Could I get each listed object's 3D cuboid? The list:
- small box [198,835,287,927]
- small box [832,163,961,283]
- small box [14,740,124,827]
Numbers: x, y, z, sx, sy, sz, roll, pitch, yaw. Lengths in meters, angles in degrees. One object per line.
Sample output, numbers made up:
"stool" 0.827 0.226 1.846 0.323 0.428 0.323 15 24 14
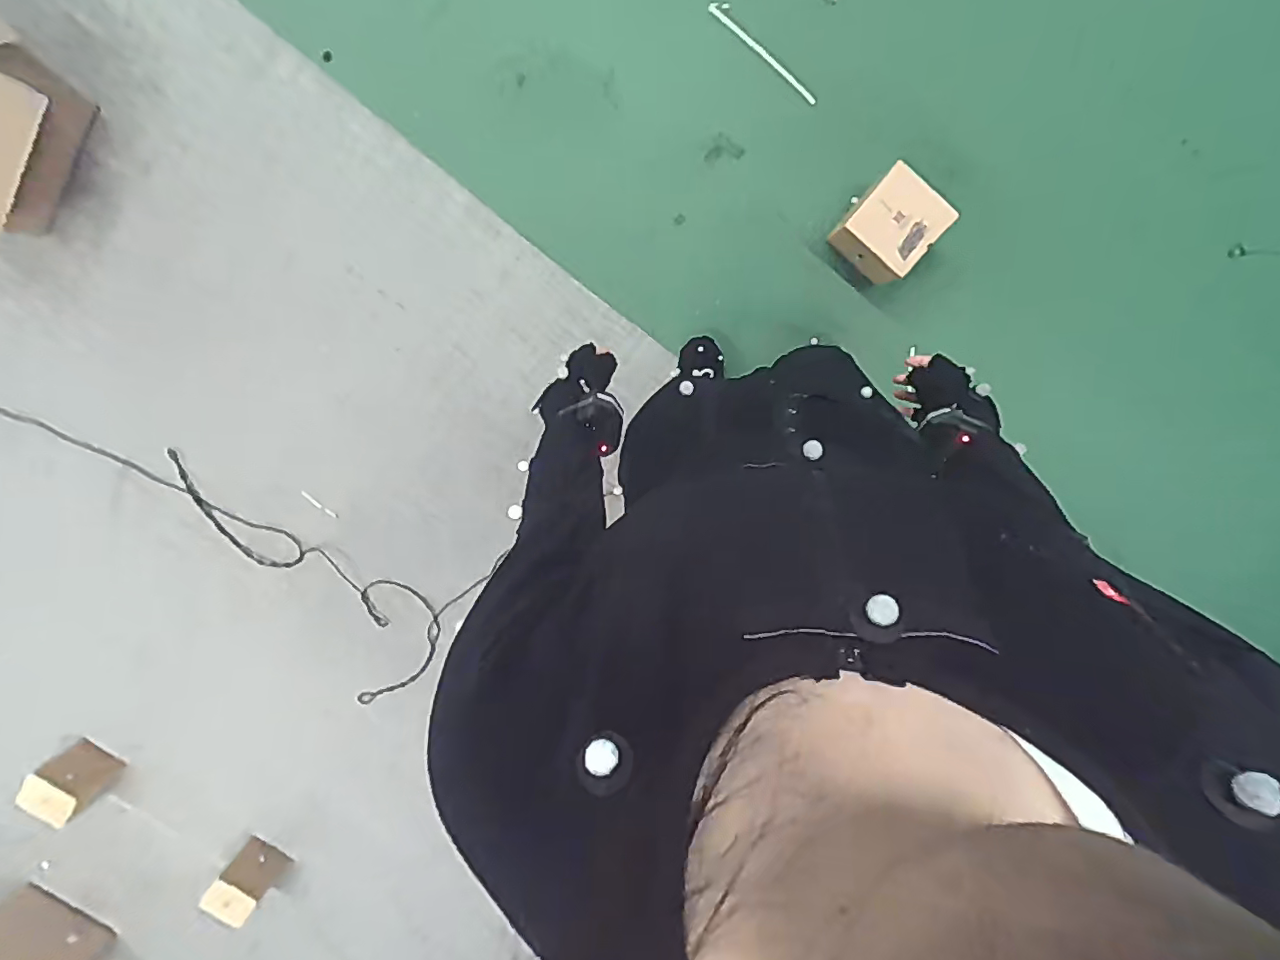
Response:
"small box" -1.418 1.434 1.940 0.168 0.176 0.179 36 105 -6
"small box" 0.568 -0.567 1.223 0.179 0.176 0.168 40 104 -5
"small box" -1.976 1.042 1.878 0.179 0.176 0.168 36 104 -6
